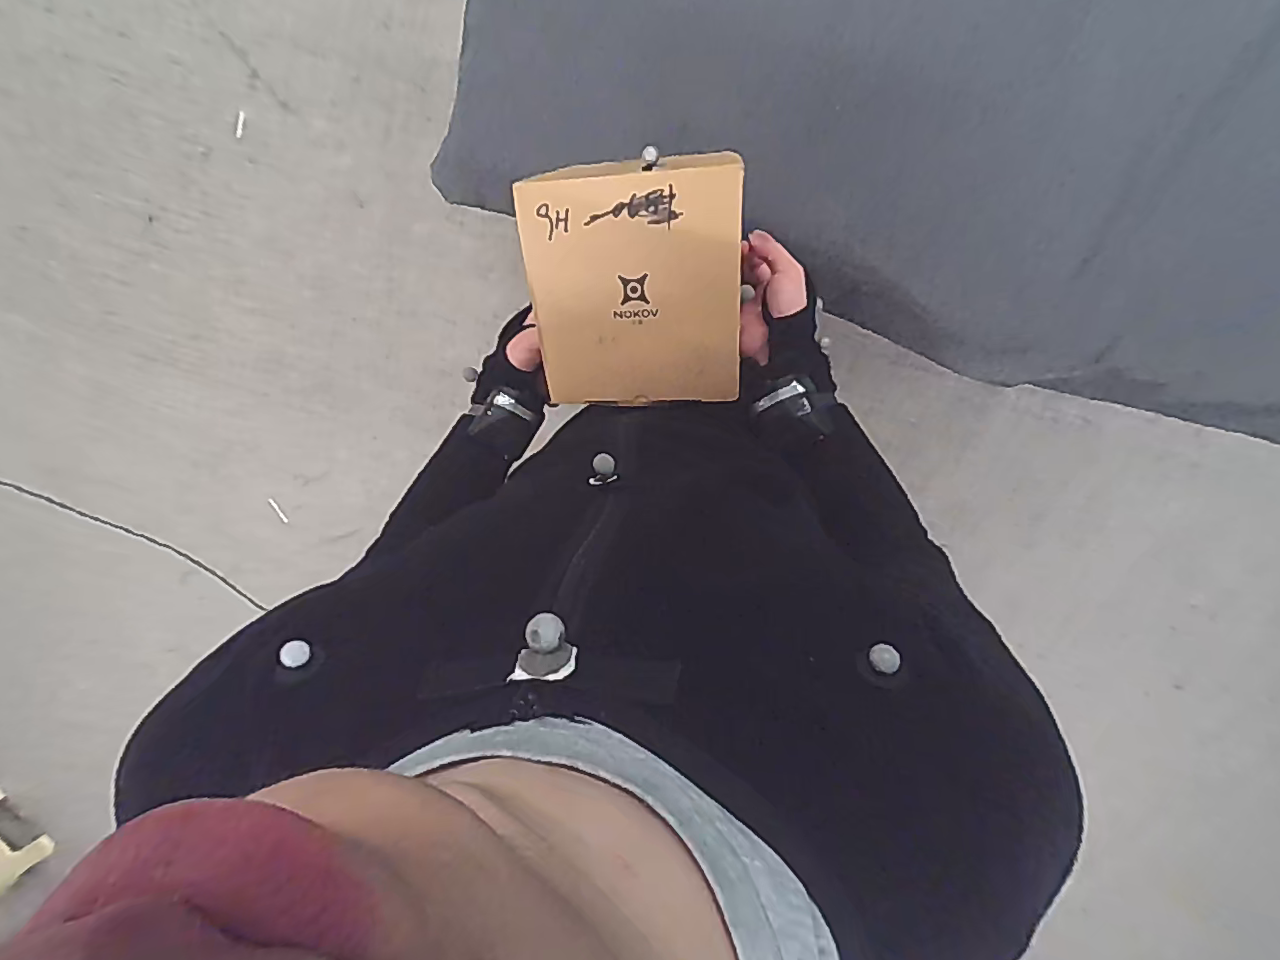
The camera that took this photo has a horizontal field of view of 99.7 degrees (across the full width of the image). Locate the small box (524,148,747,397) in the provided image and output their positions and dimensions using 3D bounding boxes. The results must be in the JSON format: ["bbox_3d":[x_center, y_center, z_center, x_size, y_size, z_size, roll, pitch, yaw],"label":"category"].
[{"bbox_3d":[0.010,-0.193,0.498,0.168,0.176,0.179,0,125,8],"label":"small box"}]
